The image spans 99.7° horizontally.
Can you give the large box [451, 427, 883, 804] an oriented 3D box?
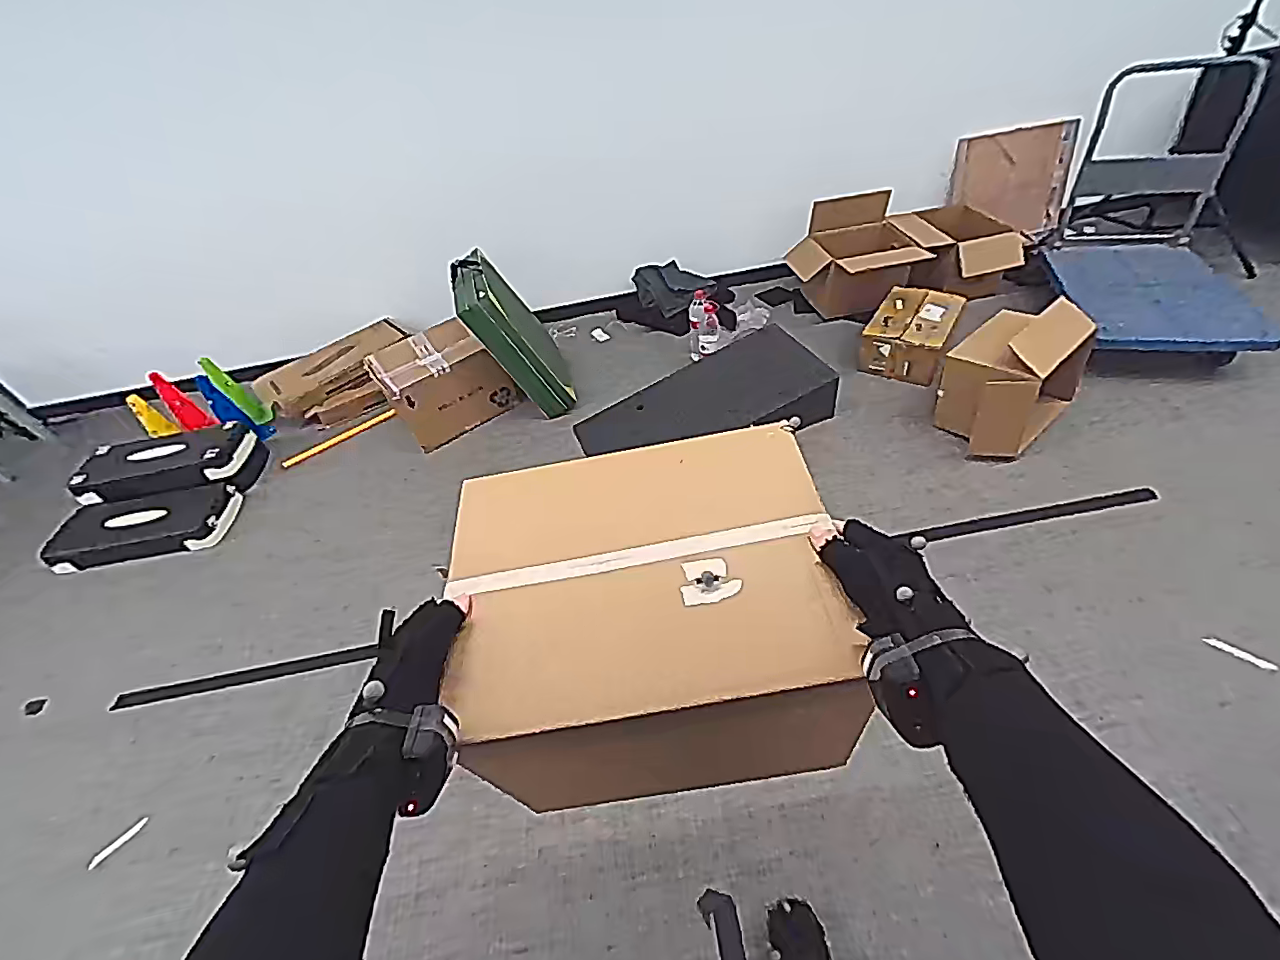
[{"bbox_3d":[0.024,0.179,0.689,0.408,0.320,0.320,-10,49,1],"label":"large box"}]
